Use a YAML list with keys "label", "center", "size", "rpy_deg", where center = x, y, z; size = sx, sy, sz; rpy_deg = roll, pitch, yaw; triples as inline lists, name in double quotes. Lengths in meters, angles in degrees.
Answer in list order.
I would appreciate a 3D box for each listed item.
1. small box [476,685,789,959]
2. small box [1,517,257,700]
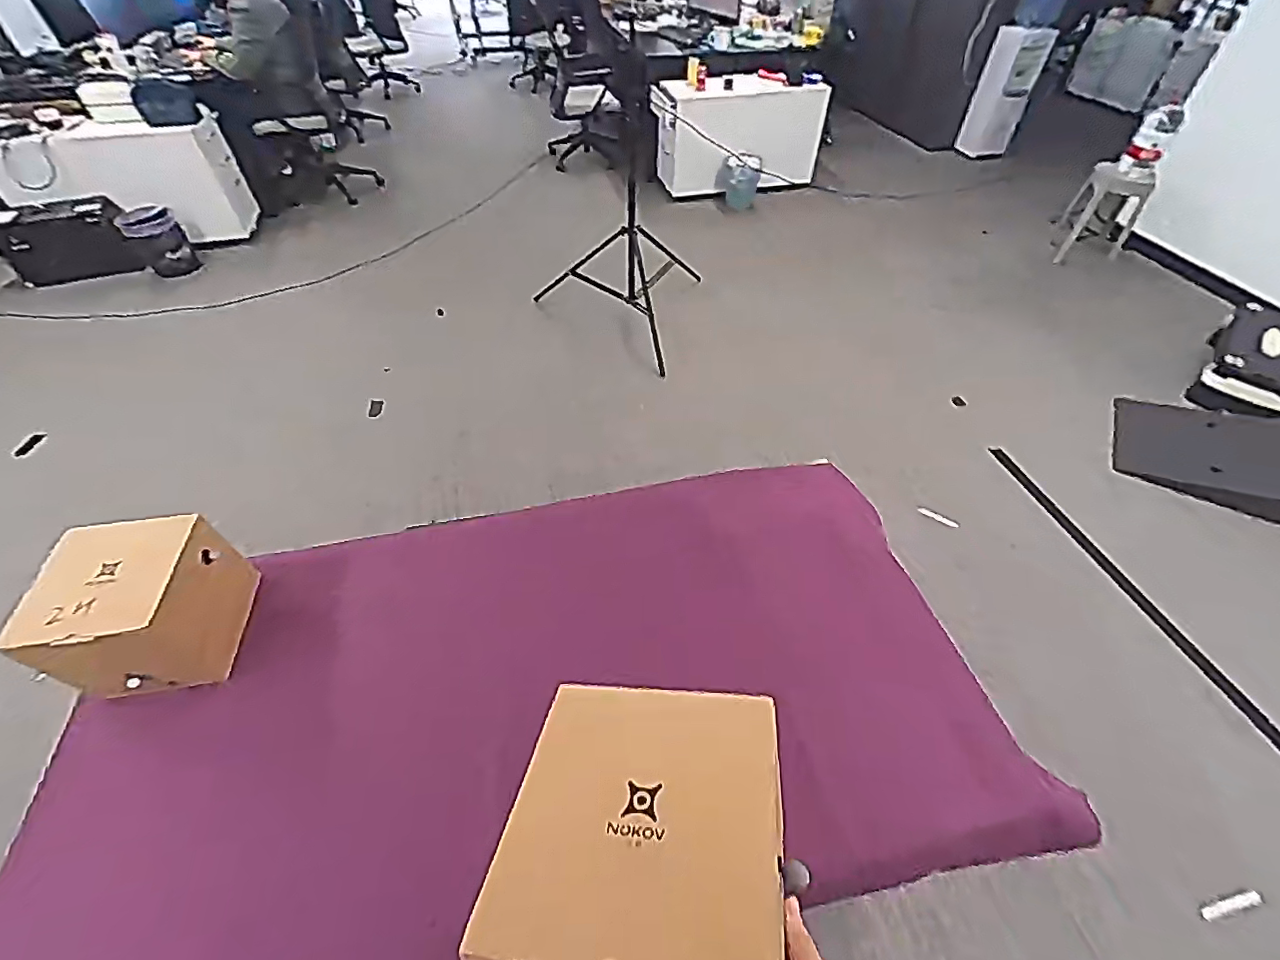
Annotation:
- label: "small box"
  center: [0.016, 0.275, 0.377]
  size: [0.168, 0.176, 0.179]
  rpy_deg: [-1, 31, 13]
- label: "small box"
  center: [-0.668, 0.176, 0.741]
  size: [0.168, 0.176, 0.179]
  rpy_deg: [-7, 51, -7]
